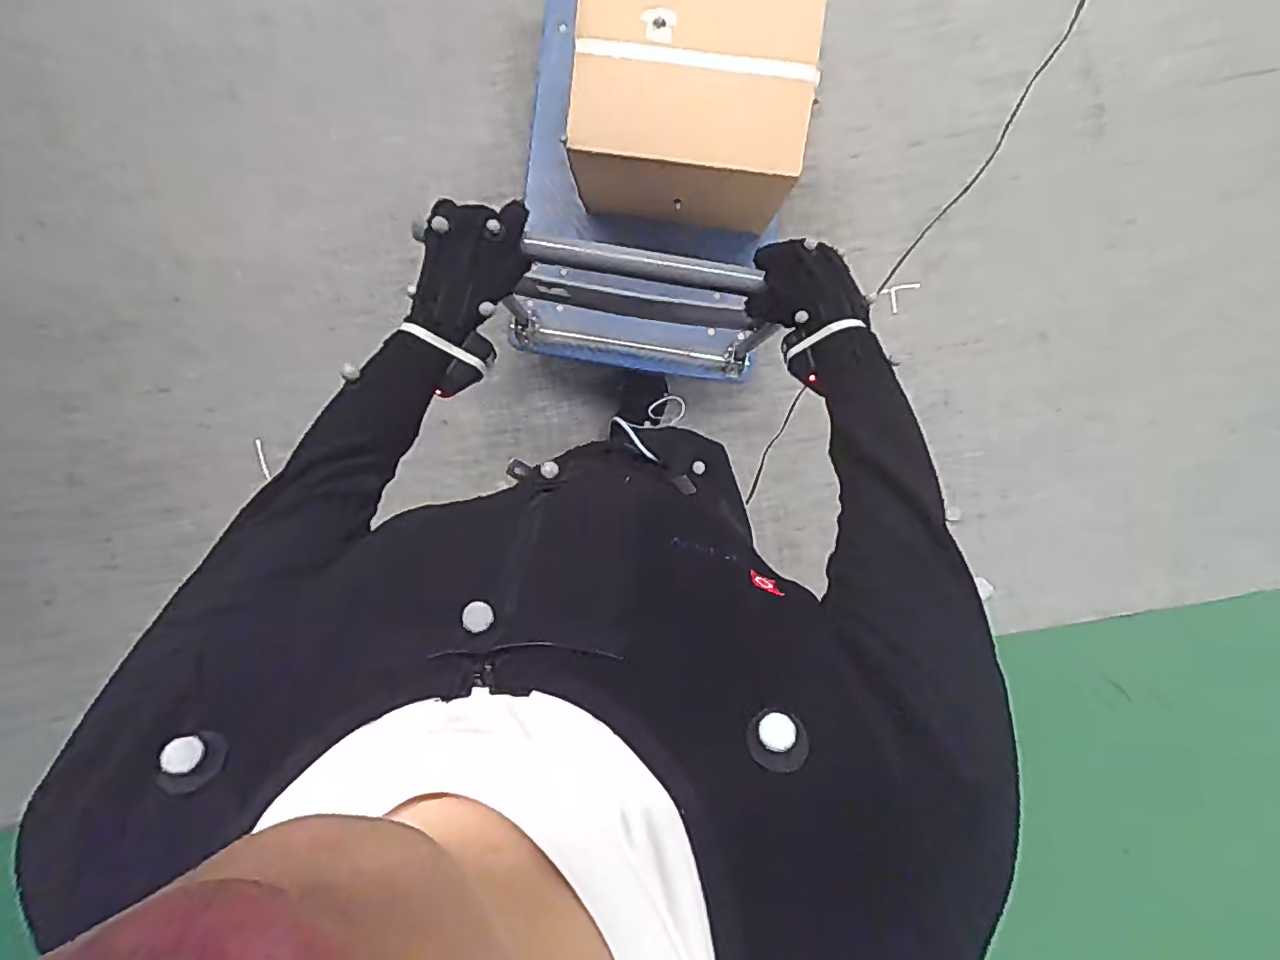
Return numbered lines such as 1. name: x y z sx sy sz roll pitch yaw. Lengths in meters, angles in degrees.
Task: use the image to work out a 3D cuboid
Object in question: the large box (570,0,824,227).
1. large box: 0.099 -0.713 1.050 0.408 0.320 0.320 7 97 1
